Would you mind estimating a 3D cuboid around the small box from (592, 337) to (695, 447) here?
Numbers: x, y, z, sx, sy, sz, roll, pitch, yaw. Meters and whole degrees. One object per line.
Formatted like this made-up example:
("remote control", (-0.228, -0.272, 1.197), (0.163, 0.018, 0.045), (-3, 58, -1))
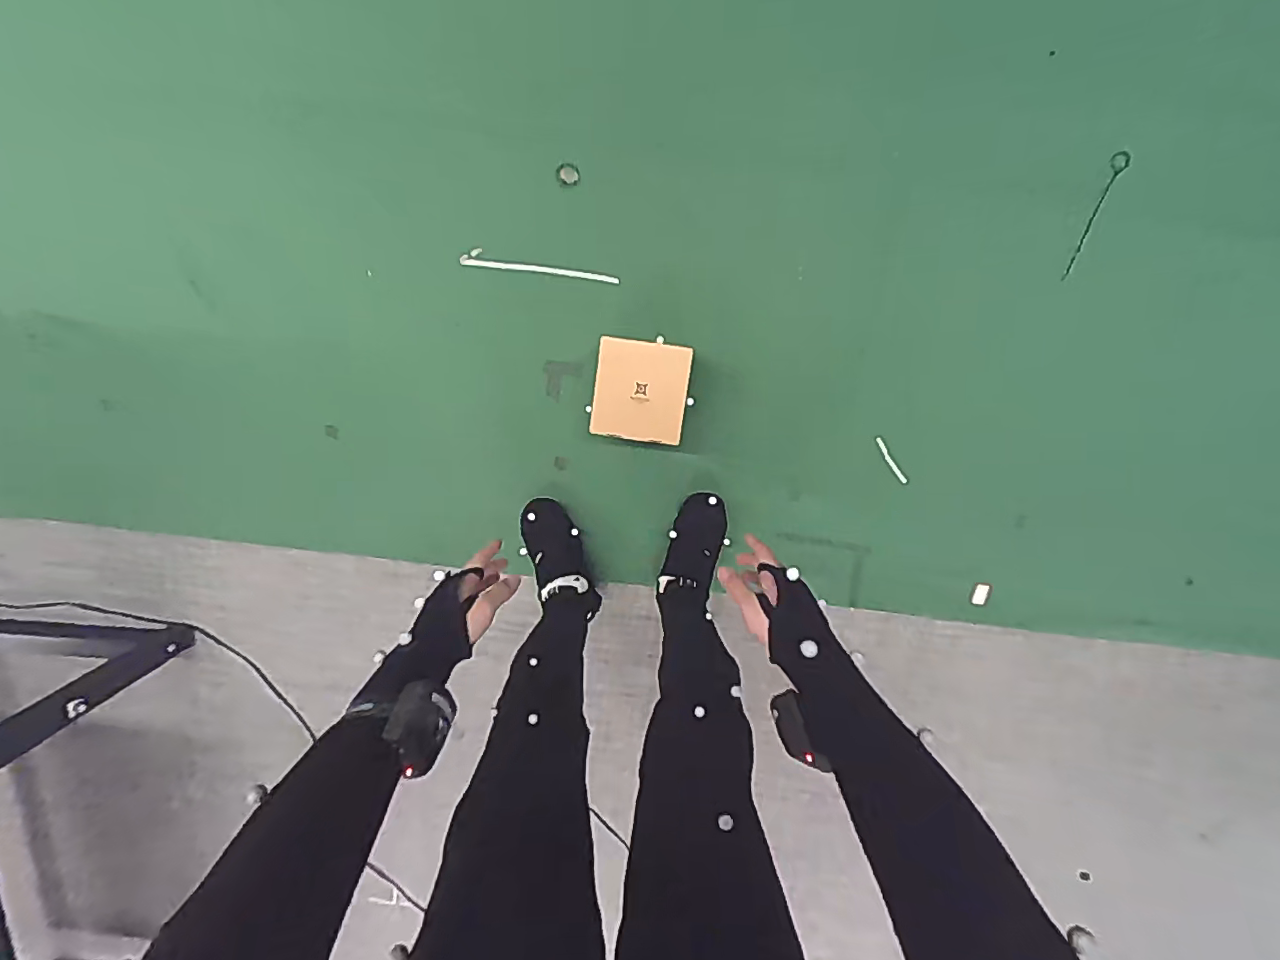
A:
("small box", (0.006, -0.173, 1.039), (0.168, 0.176, 0.179), (8, 104, 0))
